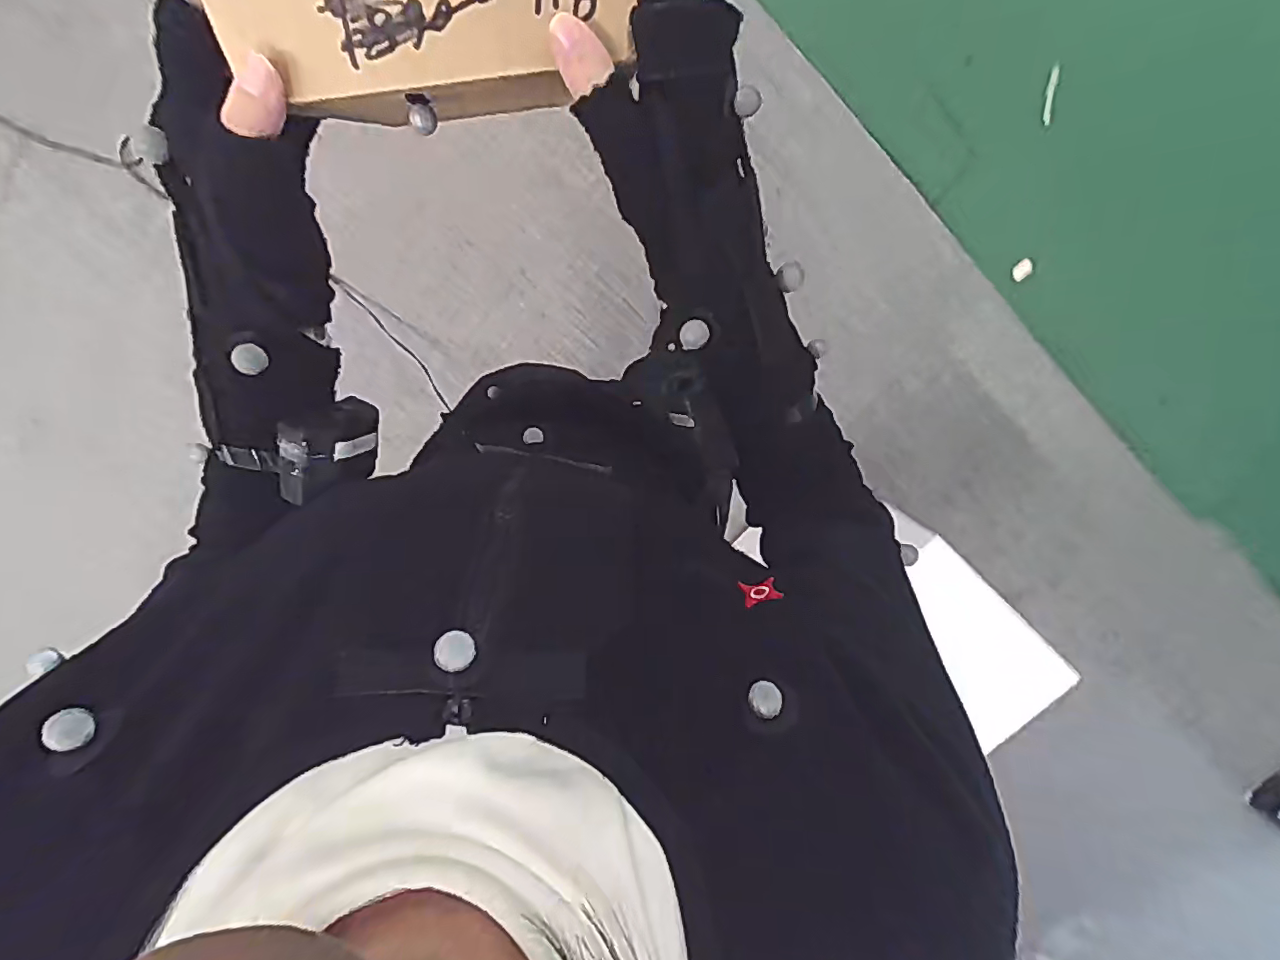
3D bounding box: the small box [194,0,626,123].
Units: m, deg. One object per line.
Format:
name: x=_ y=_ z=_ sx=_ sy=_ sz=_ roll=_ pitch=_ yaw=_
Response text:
small box: x=-0.101 y=-0.283 z=0.248 sx=0.168 sy=0.176 sz=0.179 roll=-8 pitch=120 yaw=1
